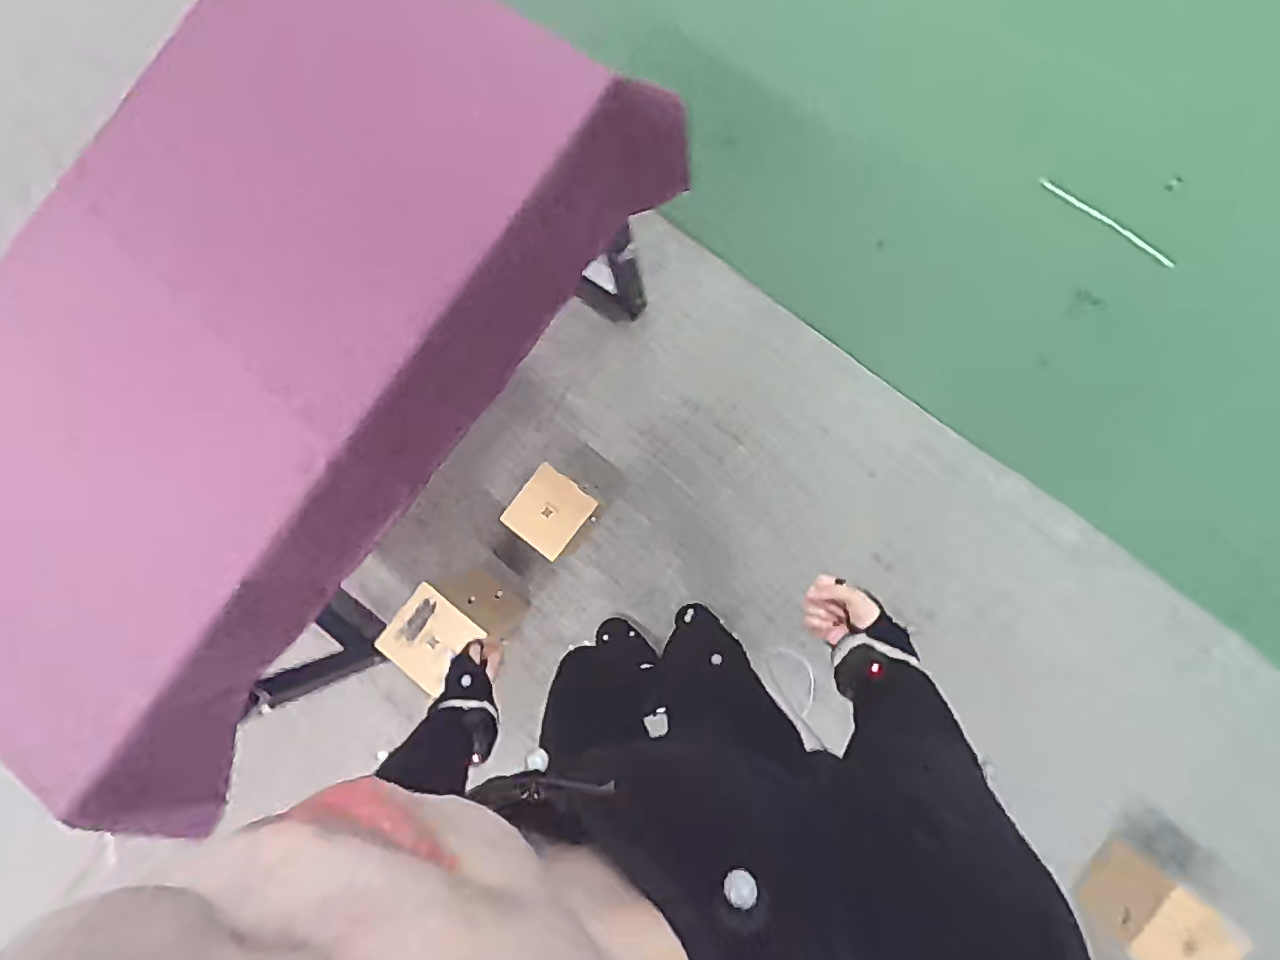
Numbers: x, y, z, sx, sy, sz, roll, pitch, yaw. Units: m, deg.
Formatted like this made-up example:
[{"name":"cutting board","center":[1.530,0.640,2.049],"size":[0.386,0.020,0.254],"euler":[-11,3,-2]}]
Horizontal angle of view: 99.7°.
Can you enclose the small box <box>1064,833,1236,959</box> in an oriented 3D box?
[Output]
[{"name":"small box","center":[1.050,0.904,1.136],"size":[0.168,0.176,0.179],"euler":[38,89,7]}]
